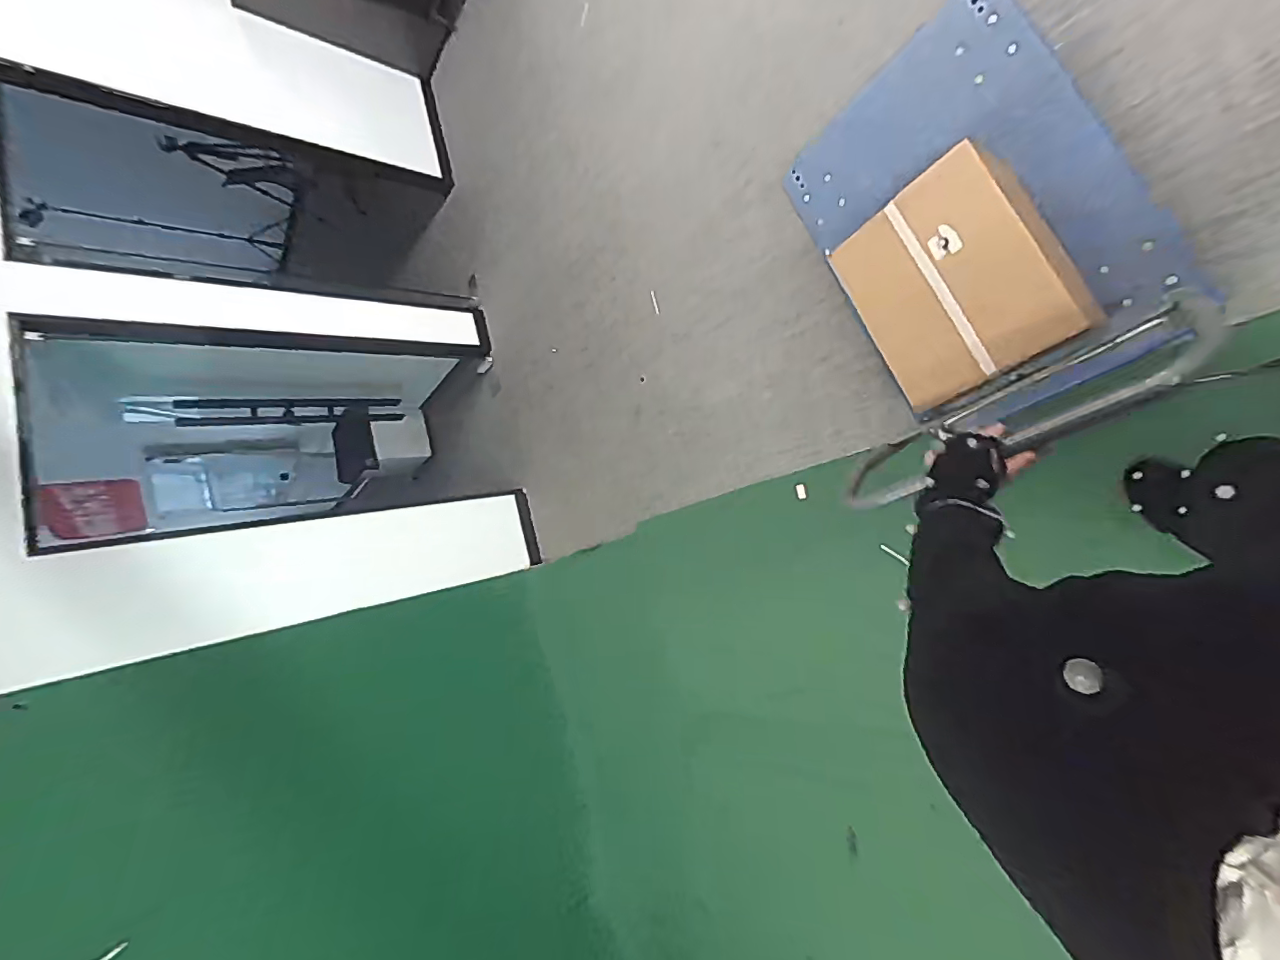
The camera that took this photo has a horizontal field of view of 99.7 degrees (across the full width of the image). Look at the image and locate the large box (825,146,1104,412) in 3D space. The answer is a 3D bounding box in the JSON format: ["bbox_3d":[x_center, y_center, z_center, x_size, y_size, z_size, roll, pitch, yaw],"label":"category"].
[{"bbox_3d":[0.686,-0.409,1.157,0.320,0.320,0.408,-36,77,45],"label":"large box"}]
